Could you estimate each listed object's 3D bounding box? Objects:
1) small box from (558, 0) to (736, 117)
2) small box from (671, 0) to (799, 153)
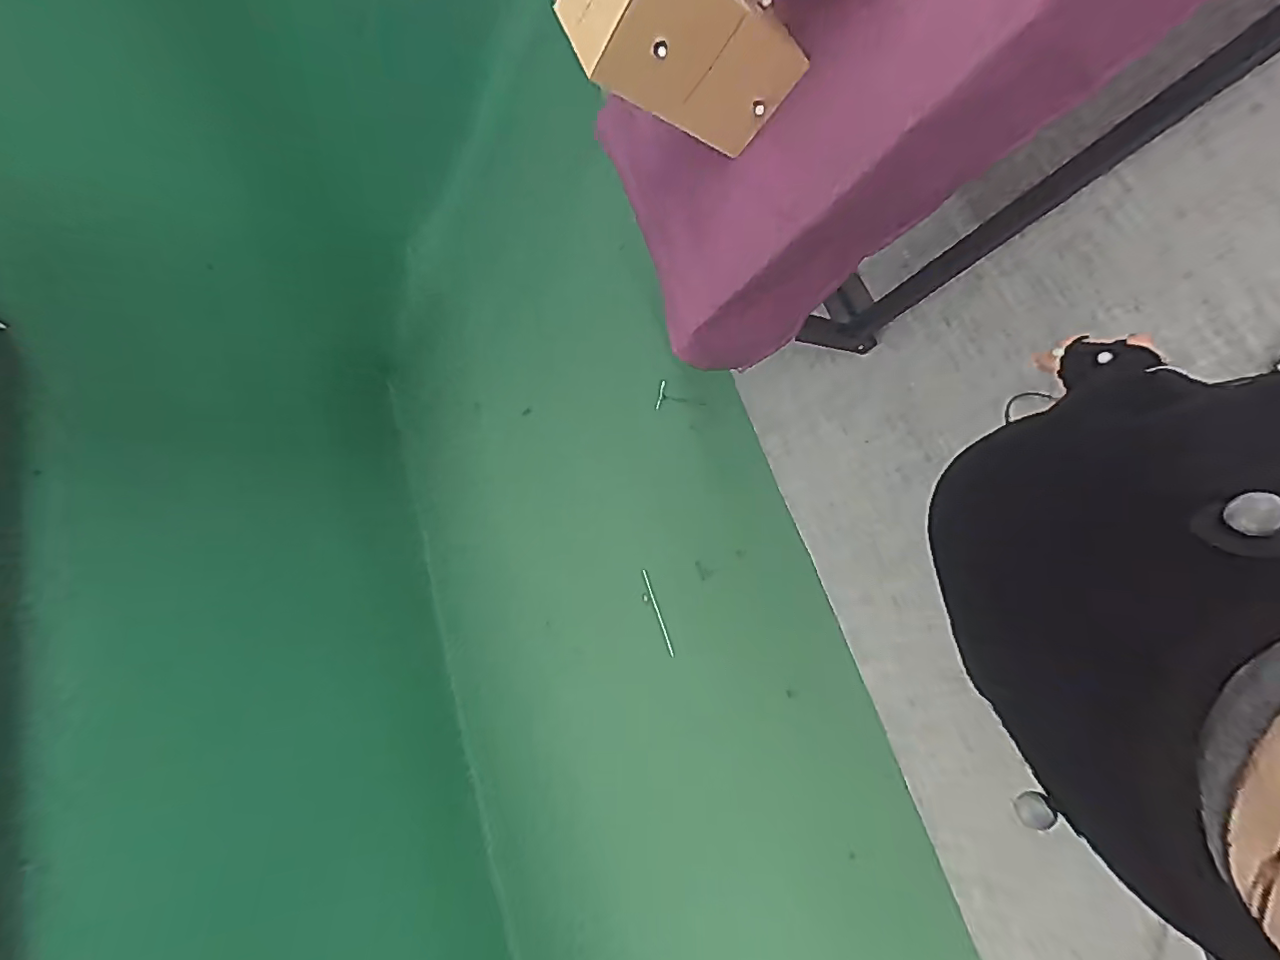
[{"bbox_3d":[0.015,-0.679,0.778,0.179,0.176,0.168,-39,66,44],"label":"small box"},{"bbox_3d":[0.136,-0.690,0.889,0.179,0.176,0.168,-38,66,43],"label":"small box"}]
